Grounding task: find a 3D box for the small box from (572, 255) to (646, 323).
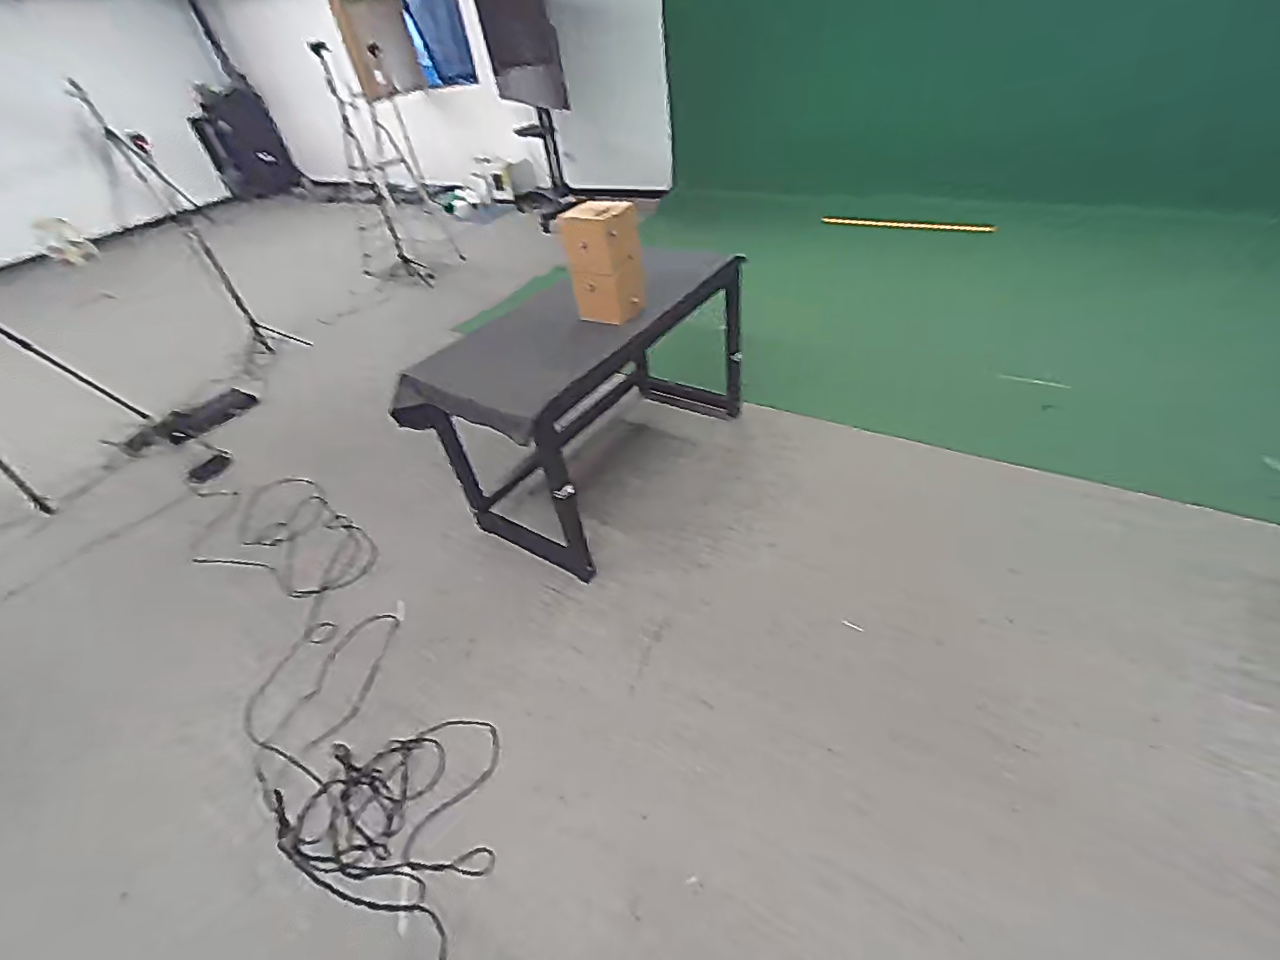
[{"bbox_3d":[-0.100,-0.640,1.812,0.179,0.176,0.168,16,47,27],"label":"small box"}]
